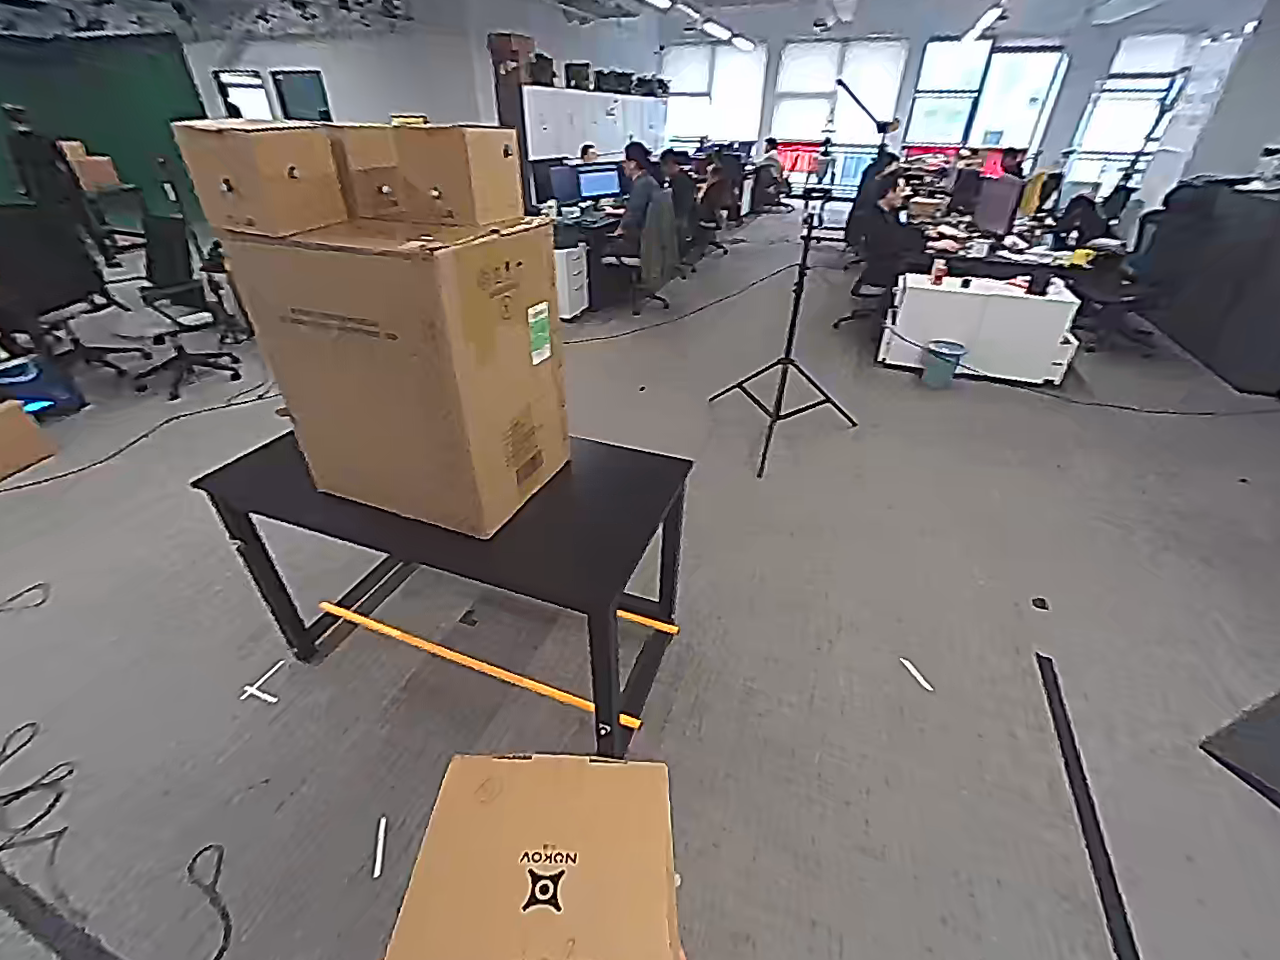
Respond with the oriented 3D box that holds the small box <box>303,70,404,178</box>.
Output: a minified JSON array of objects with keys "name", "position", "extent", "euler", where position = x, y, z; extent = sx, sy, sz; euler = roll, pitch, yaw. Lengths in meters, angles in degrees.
[{"name":"small box","position":[-0.615,-0.714,1.094],"extent":[0.179,0.176,0.168],"euler":[15,36,17]}]

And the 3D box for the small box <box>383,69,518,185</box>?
[{"name":"small box","position":[-0.343,-0.660,1.019],"extent":[0.168,0.176,0.179],"euler":[11,33,17]}]

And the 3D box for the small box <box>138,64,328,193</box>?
[{"name":"small box","position":[-0.681,-0.607,0.933],"extent":[0.168,0.176,0.179],"euler":[13,39,11]}]
